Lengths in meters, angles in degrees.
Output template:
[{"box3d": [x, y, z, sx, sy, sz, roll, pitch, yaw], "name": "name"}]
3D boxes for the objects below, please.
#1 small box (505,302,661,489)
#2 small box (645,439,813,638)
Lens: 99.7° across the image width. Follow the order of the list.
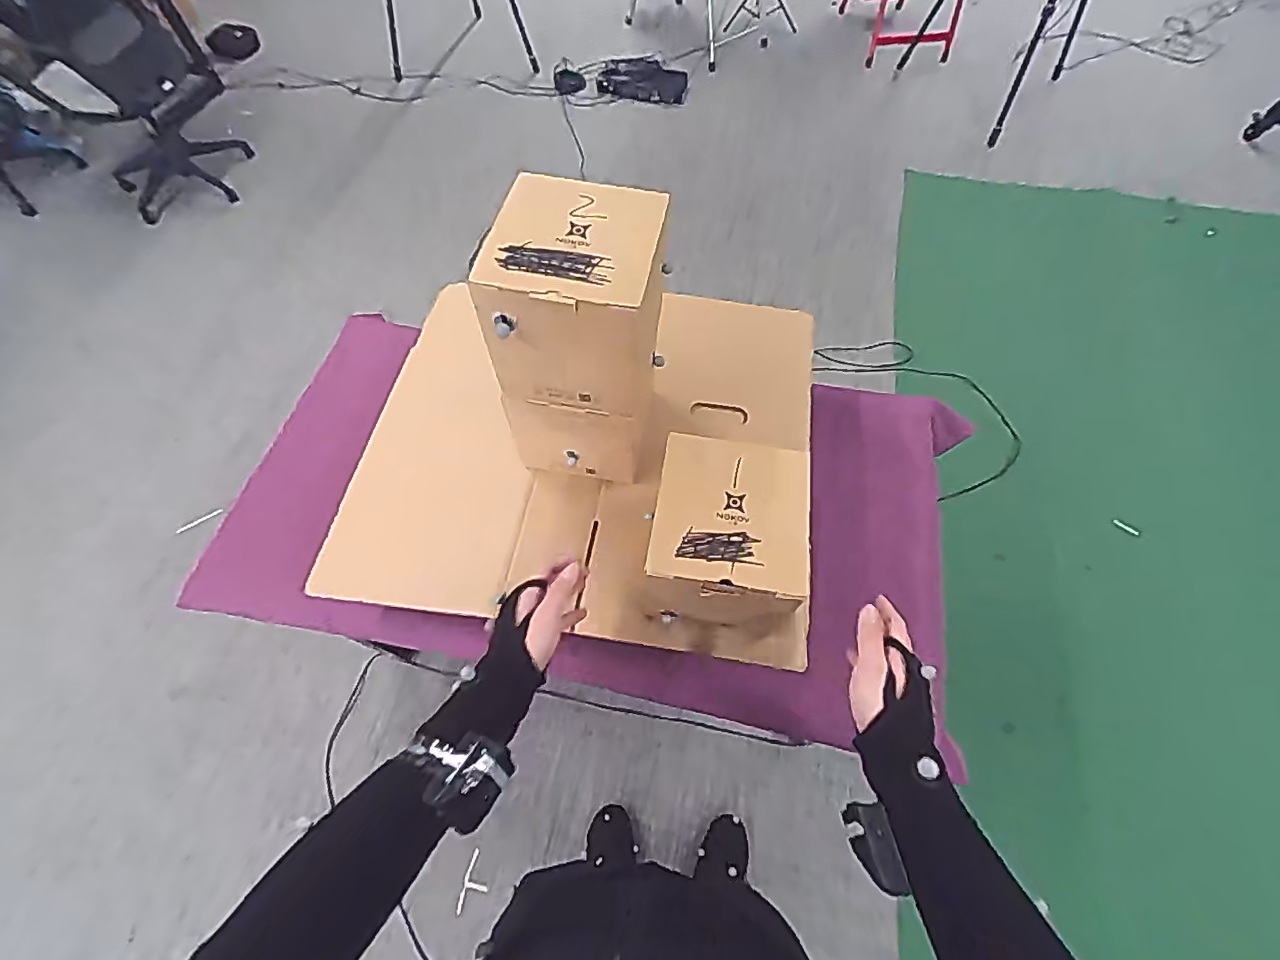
[{"box3d": [-0.070, -0.111, 0.748, 0.168, 0.176, 0.179, 10, 62, 4], "name": "small box"}, {"box3d": [0.101, 0.078, 0.648, 0.168, 0.176, 0.179, 9, 61, 4], "name": "small box"}]
